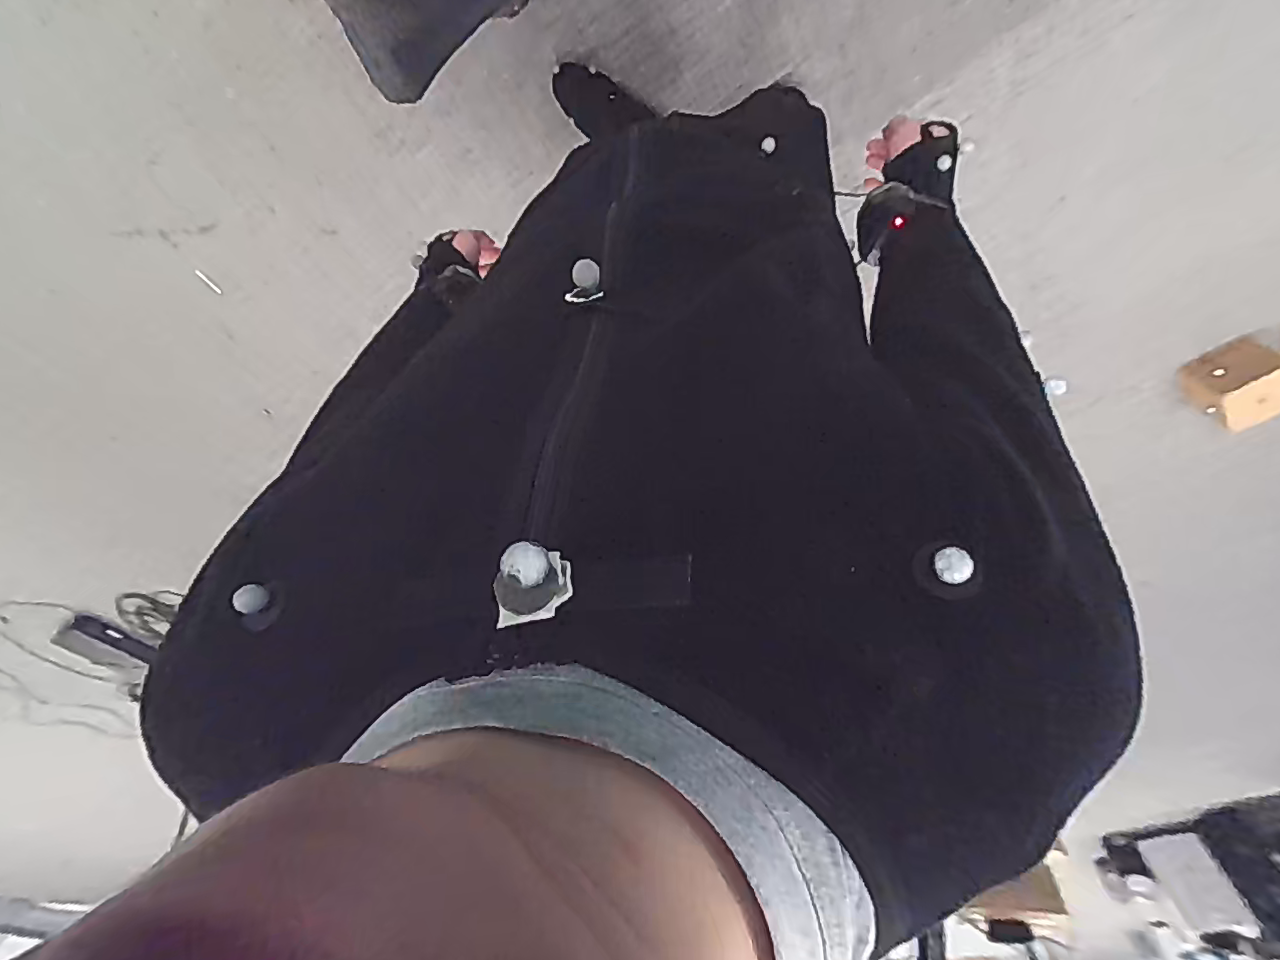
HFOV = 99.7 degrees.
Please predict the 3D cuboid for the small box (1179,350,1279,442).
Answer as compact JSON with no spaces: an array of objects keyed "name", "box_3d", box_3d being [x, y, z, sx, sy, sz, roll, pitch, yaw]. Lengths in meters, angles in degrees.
[{"name":"small box","box_3d":[1.726,-0.251,1.567,0.168,0.176,0.179,-35,123,27]}]
